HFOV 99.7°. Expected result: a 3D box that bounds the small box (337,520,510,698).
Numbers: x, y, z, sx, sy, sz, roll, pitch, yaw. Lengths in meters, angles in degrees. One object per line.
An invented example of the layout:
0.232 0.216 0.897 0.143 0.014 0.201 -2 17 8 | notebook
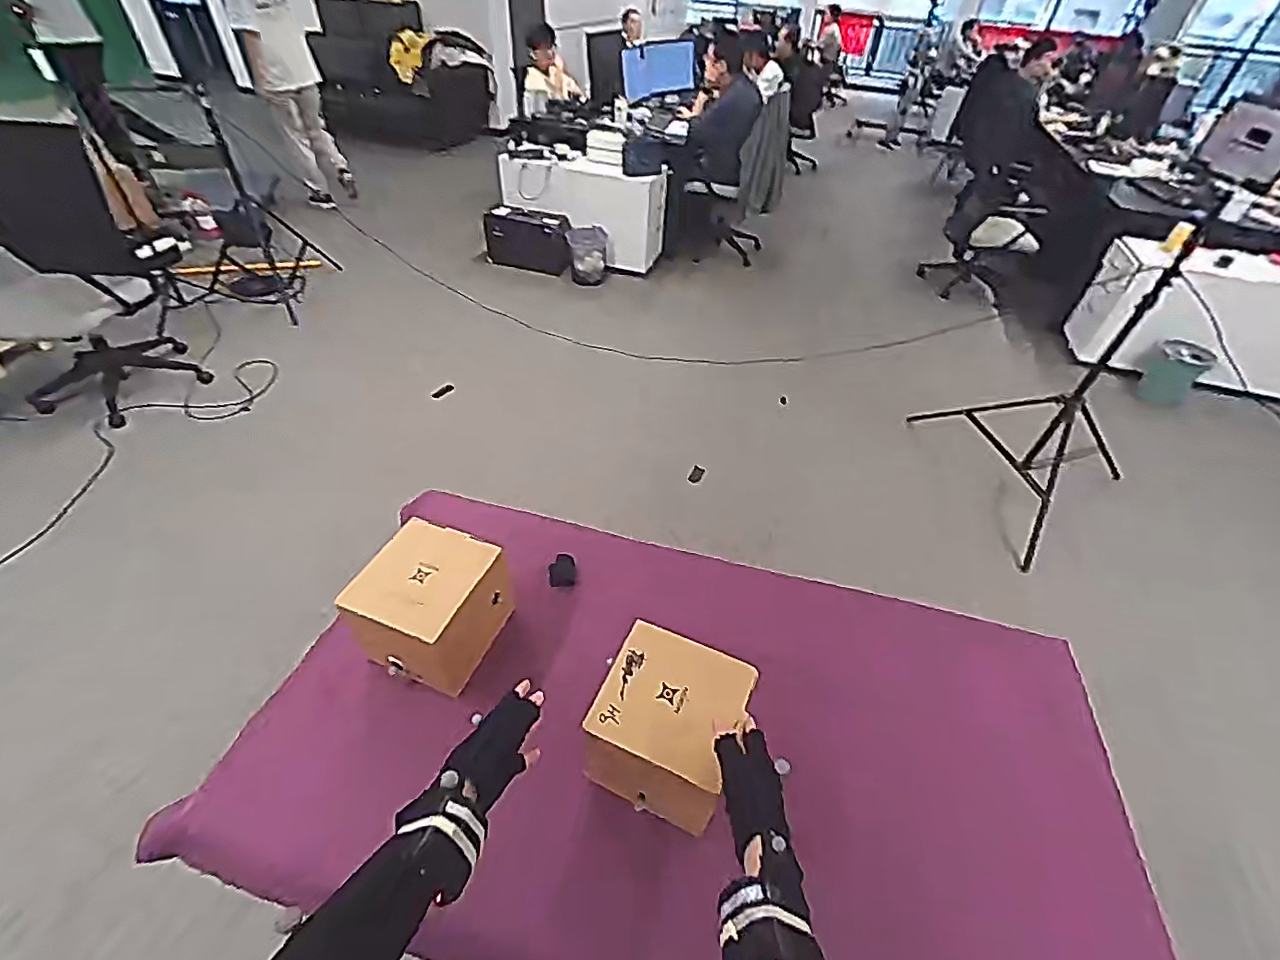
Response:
-0.314 0.197 0.829 0.168 0.176 0.179 16 46 13 | small box

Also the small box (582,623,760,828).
0.038 0.328 0.717 0.179 0.176 0.168 20 45 15 | small box
